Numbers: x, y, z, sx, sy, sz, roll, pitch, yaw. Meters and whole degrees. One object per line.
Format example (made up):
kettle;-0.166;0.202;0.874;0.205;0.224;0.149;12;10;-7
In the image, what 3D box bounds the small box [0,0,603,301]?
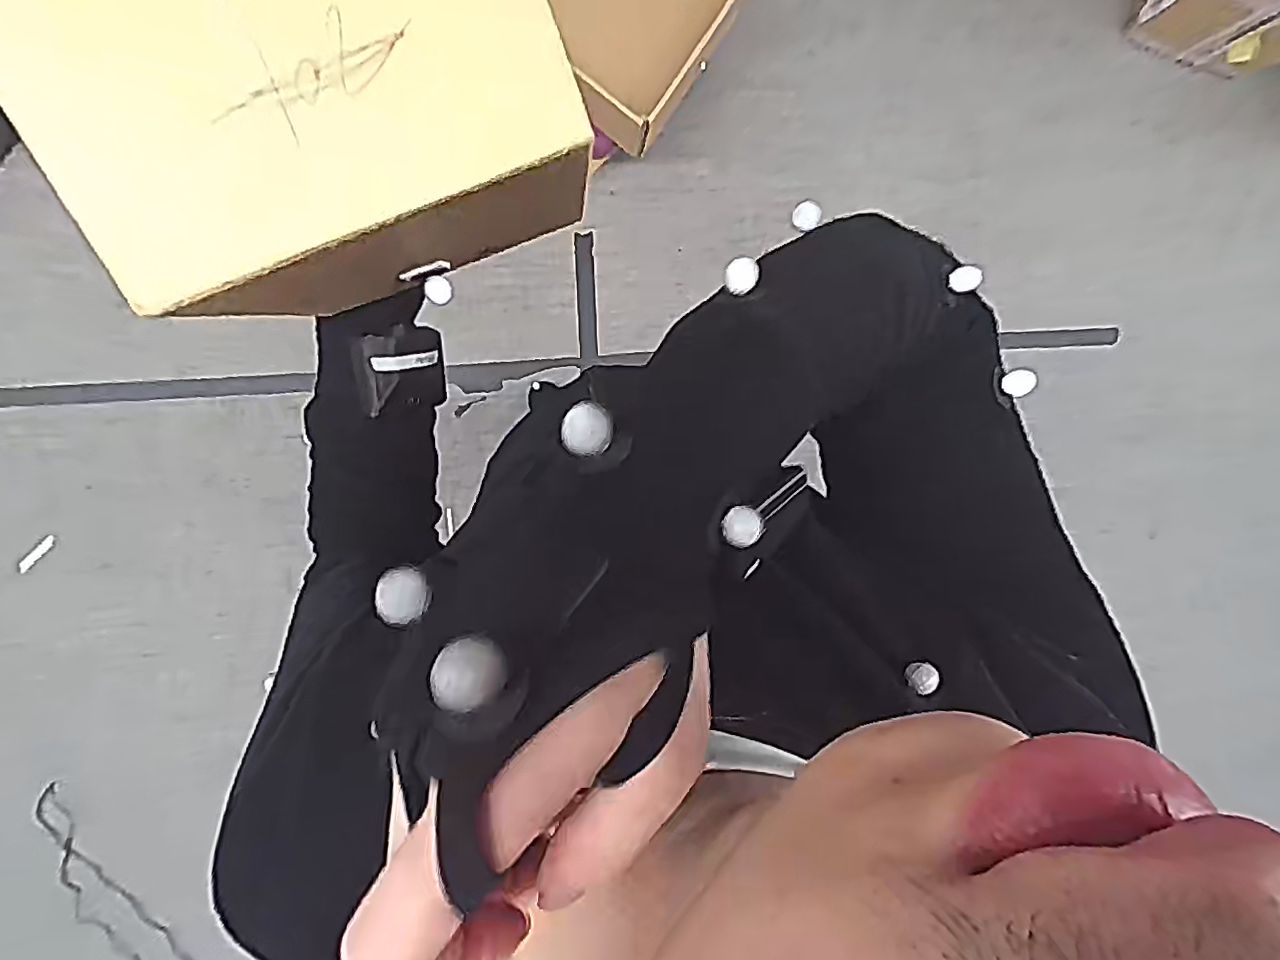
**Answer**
small box;-0.127;-0.191;0.239;0.168;0.176;0.179;-21;109;0
